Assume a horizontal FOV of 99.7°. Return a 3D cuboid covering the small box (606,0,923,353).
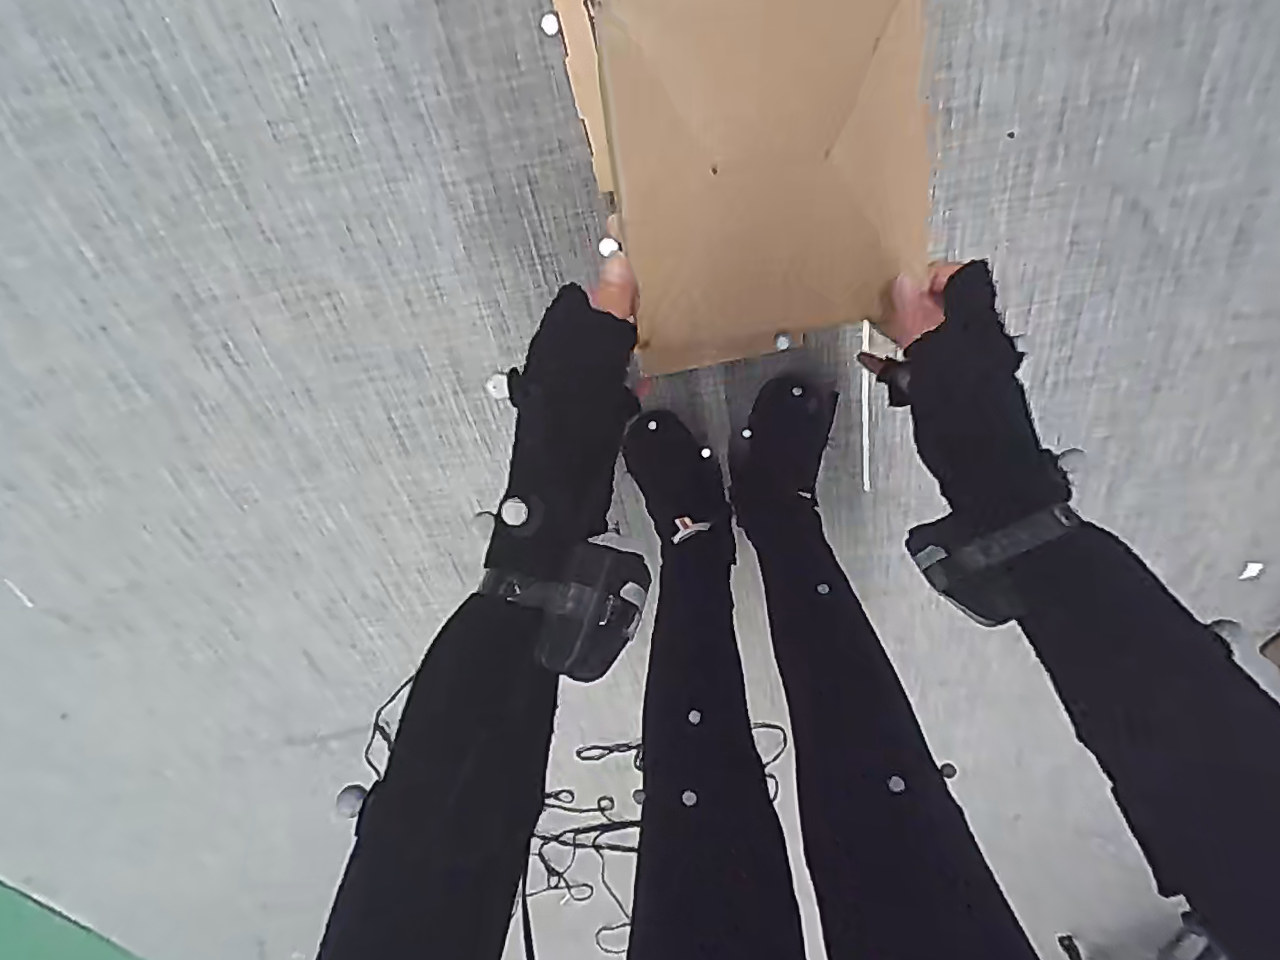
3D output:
[{"bbox_3d":[0.071,-0.186,0.370,0.168,0.176,0.179,-7,104,-1],"label":"small box"}]
